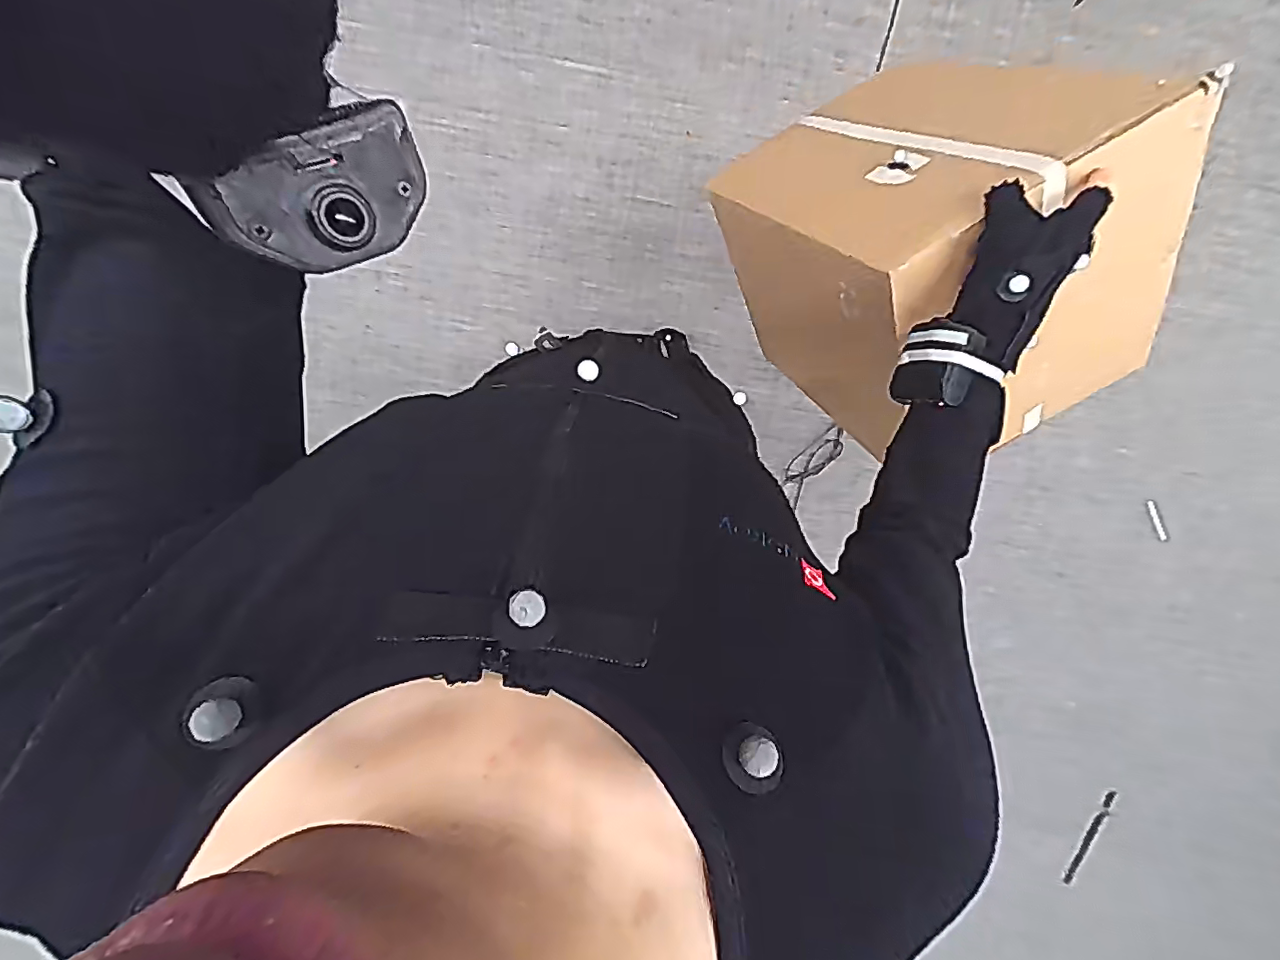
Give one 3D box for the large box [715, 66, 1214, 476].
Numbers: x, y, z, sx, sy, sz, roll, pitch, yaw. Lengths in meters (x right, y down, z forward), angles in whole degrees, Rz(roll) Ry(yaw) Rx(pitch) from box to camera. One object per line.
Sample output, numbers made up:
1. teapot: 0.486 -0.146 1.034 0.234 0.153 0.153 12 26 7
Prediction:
1. large box: 0.351 -0.284 0.708 0.320 0.408 0.320 -30 133 4
